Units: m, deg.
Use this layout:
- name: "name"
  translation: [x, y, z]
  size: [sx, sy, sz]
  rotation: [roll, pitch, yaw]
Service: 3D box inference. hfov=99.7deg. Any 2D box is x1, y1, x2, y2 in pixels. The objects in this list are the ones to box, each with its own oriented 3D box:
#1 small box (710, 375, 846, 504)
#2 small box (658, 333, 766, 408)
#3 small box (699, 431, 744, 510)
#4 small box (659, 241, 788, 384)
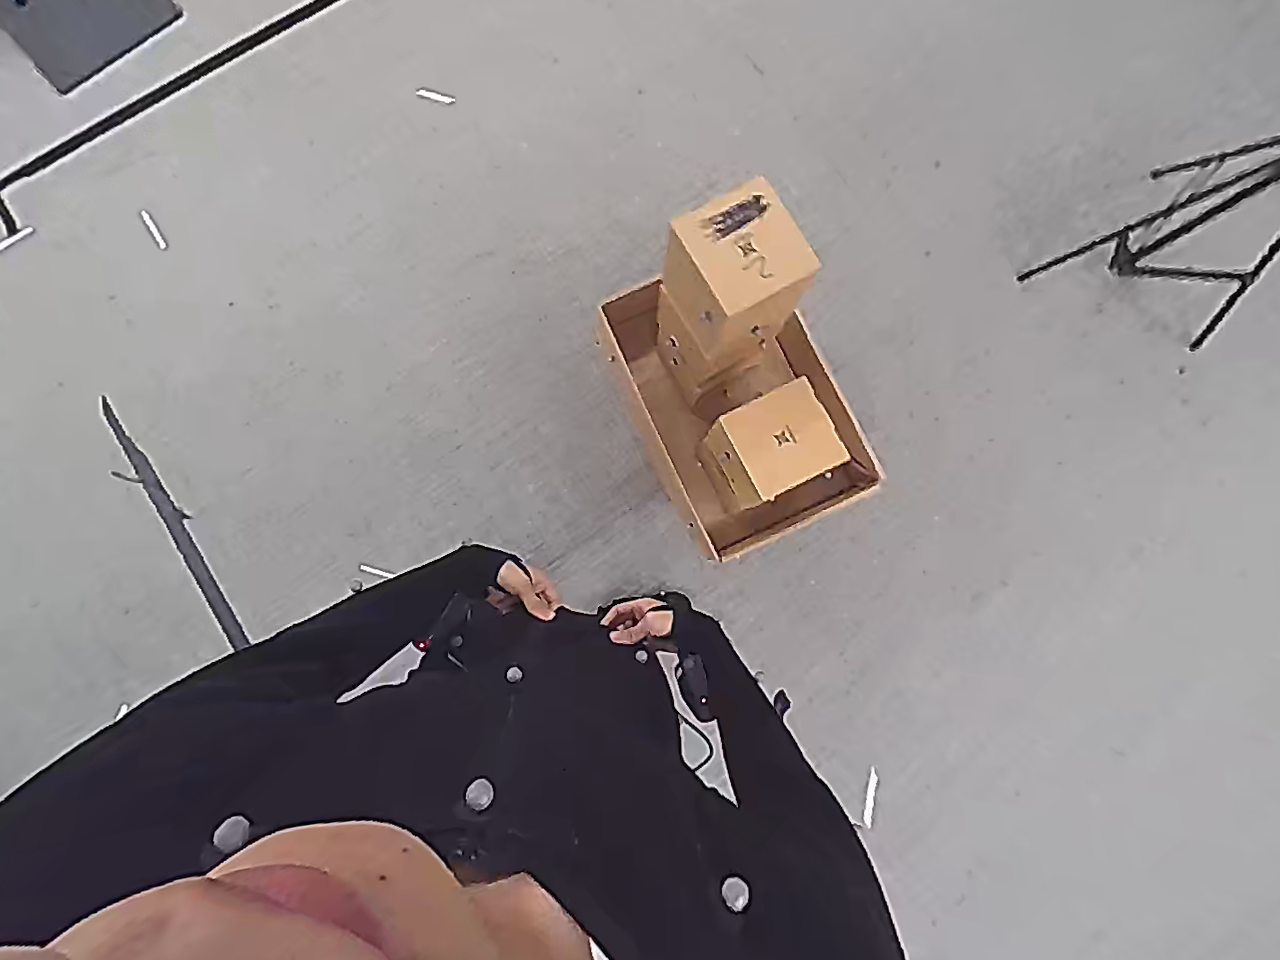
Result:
- name: "small box"
  translation: [0.244, -0.066, 1.014]
  size: [0.179, 0.176, 0.168]
  rotation: [-26, 84, -5]
- name: "small box"
  translation: [0.150, -0.284, 1.203]
  size: [0.168, 0.176, 0.179]
  rotation: [-28, 85, -4]
- name: "small box"
  translation: [0.239, -0.046, 1.176]
  size: [0.179, 0.176, 0.168]
  rotation: [-27, 84, -5]
- name: "small box"
  translation: [0.150, -0.314, 1.041]
  size: [0.179, 0.176, 0.168]
  rotation: [-30, 83, -5]
